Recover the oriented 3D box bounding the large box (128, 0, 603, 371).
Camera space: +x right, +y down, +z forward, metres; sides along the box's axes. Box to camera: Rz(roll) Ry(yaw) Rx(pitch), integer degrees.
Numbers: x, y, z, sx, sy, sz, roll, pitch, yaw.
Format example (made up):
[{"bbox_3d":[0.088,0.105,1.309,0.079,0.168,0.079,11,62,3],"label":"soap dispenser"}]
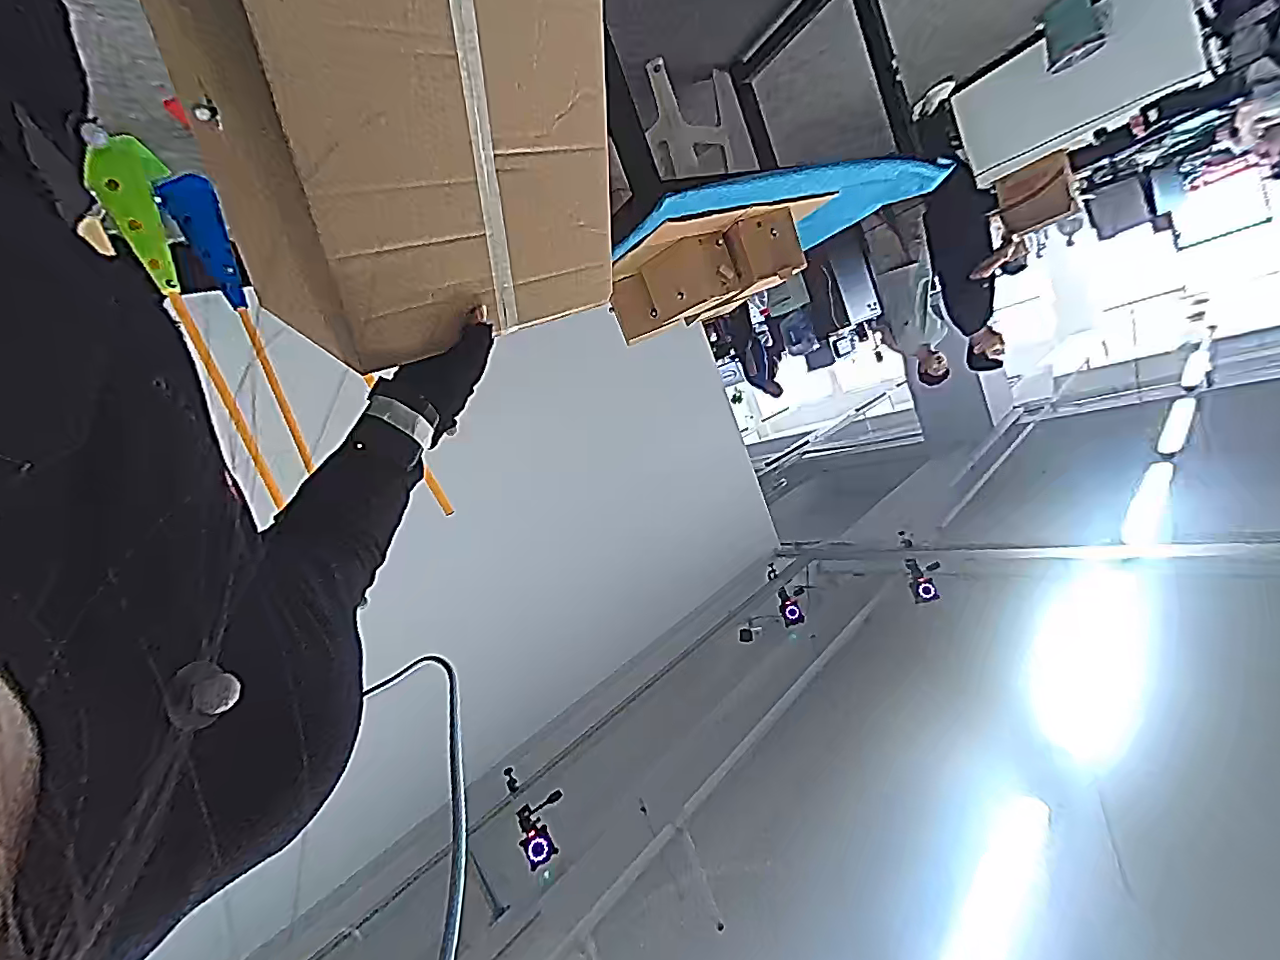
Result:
[{"bbox_3d":[-0.263,-0.383,0.556,0.320,0.408,0.320,-30,-135,-35],"label":"large box"}]
